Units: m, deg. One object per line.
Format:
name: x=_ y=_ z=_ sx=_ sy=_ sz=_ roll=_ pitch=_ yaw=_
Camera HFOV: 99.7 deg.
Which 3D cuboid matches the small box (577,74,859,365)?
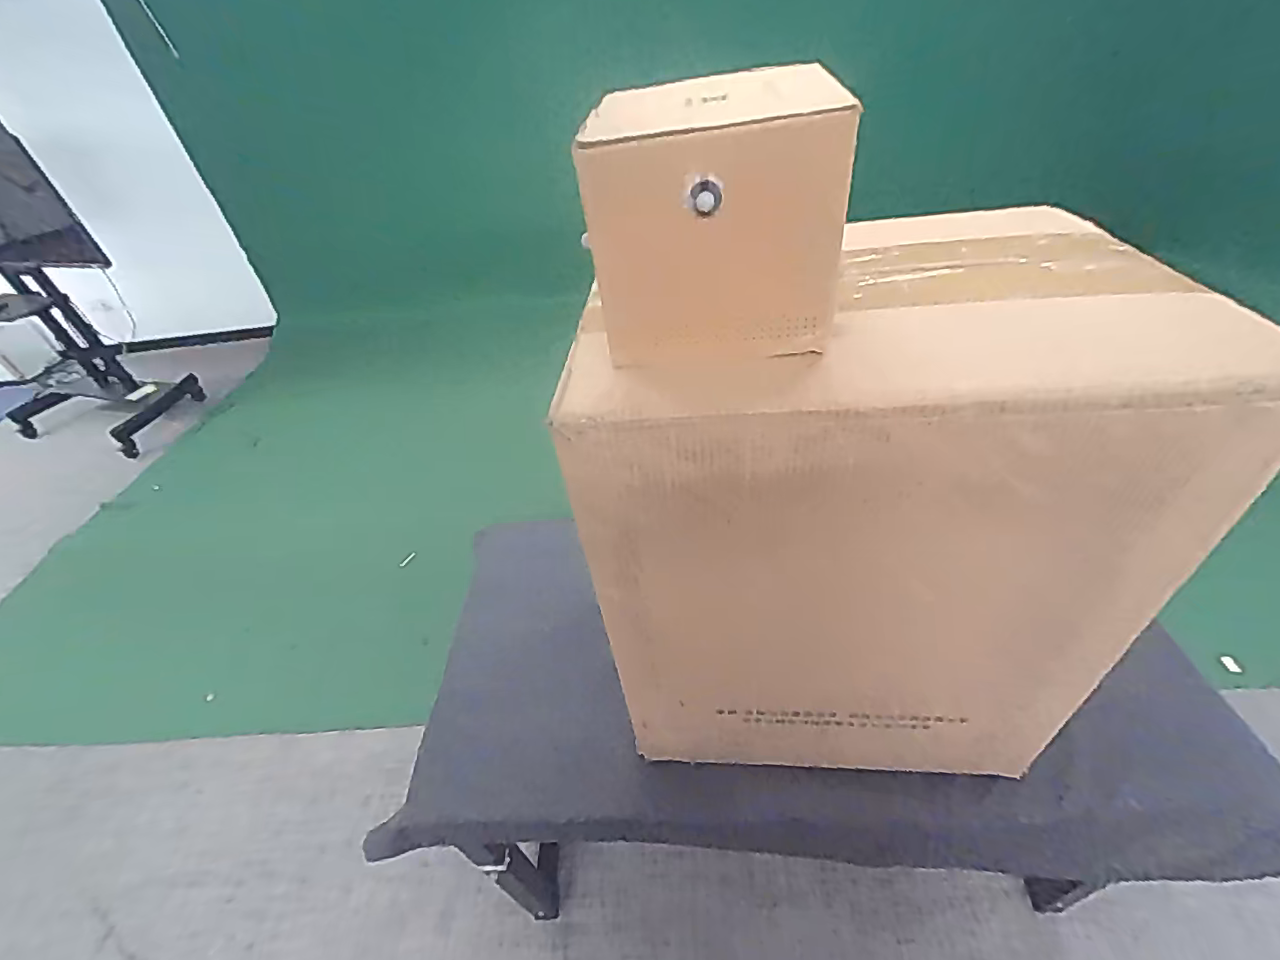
small box: x=0.060 y=-0.206 z=0.441 sx=0.179 sy=0.176 sz=0.168 roll=-1 pitch=45 yaw=7
